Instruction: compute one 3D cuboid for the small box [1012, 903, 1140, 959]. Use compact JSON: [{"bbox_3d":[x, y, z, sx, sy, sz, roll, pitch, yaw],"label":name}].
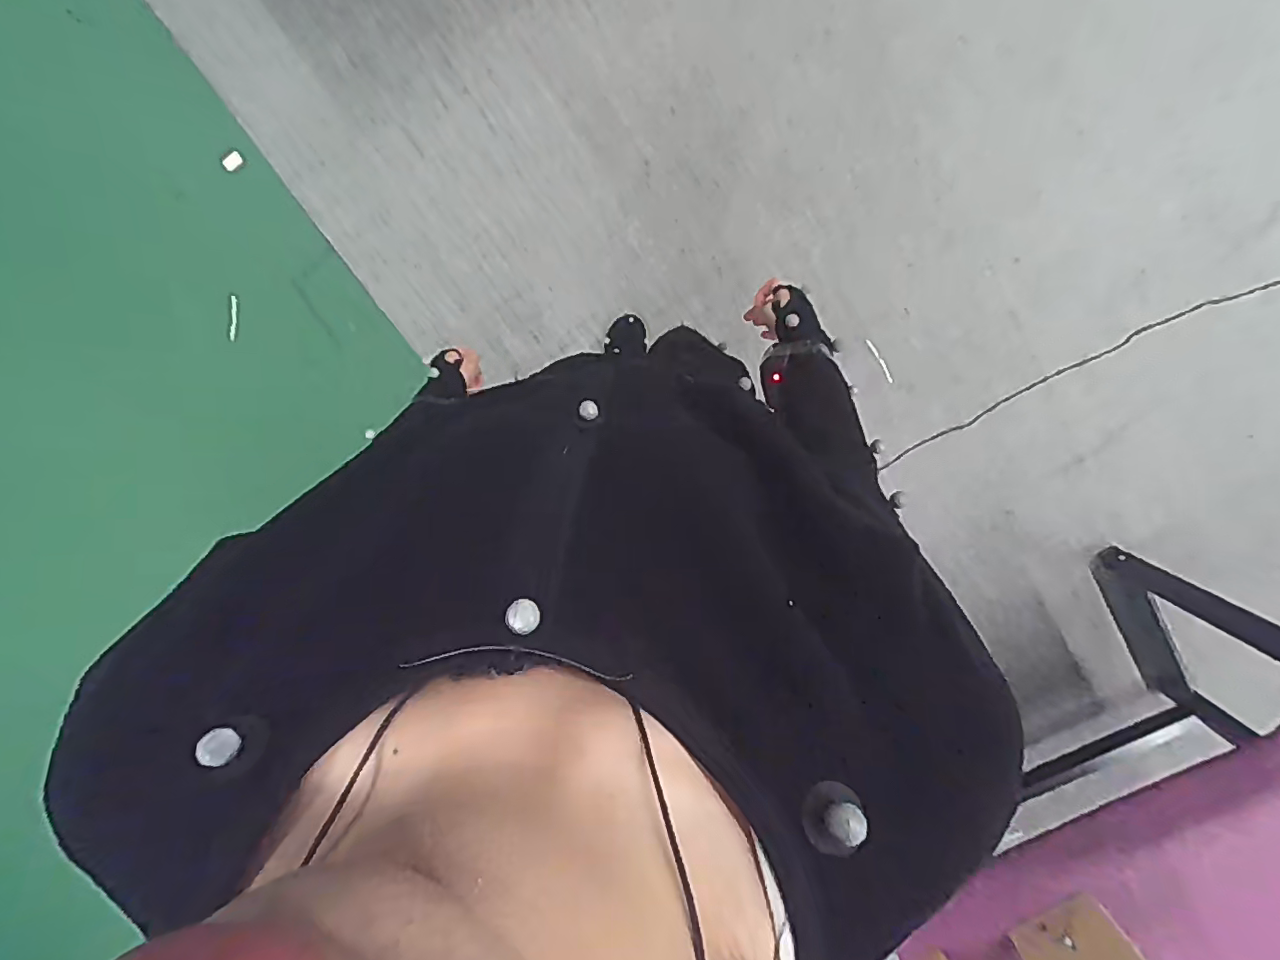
[{"bbox_3d":[0.795,0.880,0.922,0.168,0.176,0.179,-39,103,10],"label":"small box"}]
